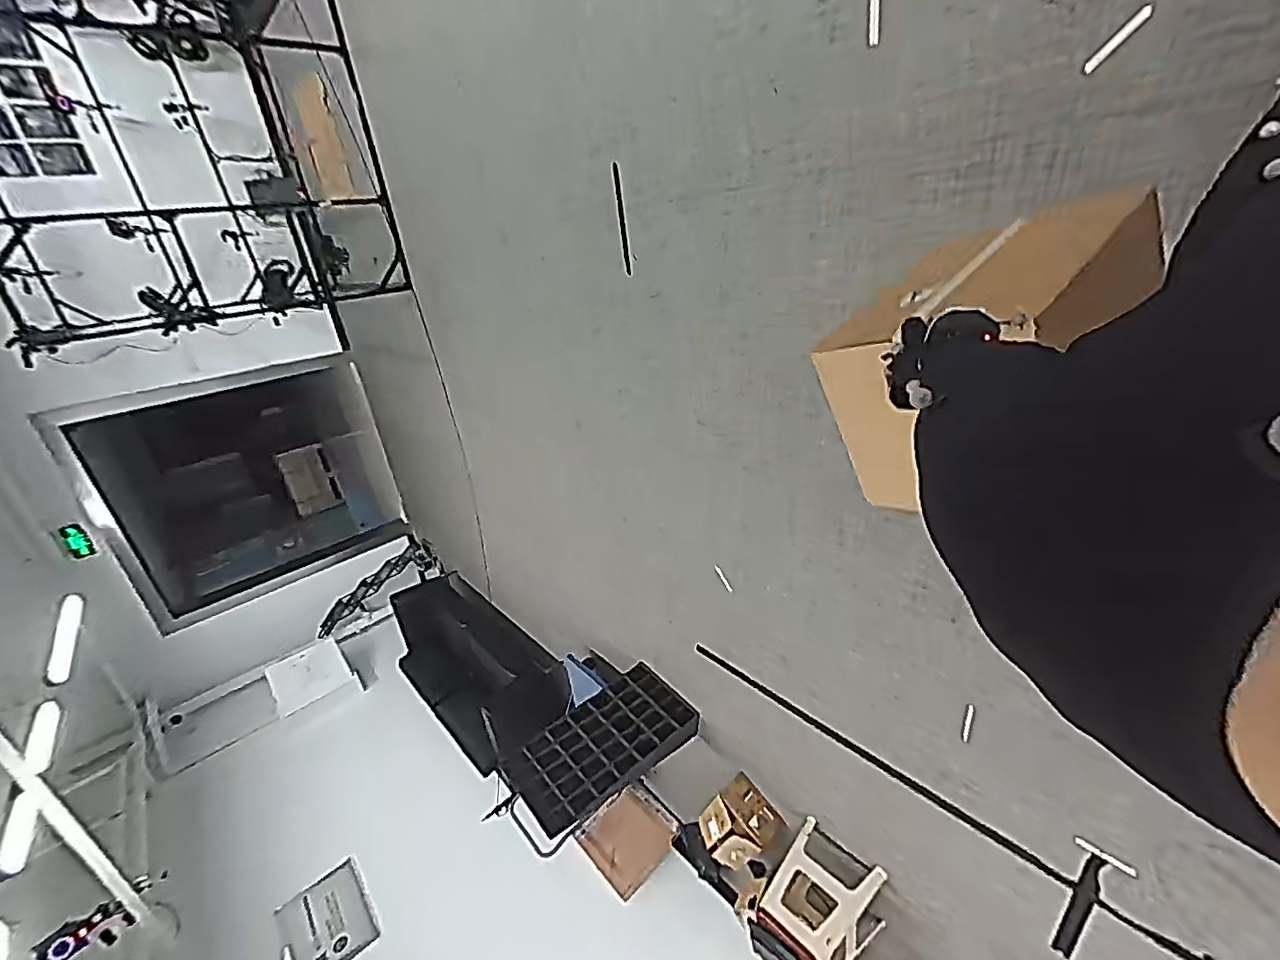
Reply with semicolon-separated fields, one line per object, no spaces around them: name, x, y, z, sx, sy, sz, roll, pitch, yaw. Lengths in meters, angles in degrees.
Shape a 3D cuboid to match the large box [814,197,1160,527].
large box;0.563;-0.182;0.870;0.320;0.408;0.320;8;132;59
